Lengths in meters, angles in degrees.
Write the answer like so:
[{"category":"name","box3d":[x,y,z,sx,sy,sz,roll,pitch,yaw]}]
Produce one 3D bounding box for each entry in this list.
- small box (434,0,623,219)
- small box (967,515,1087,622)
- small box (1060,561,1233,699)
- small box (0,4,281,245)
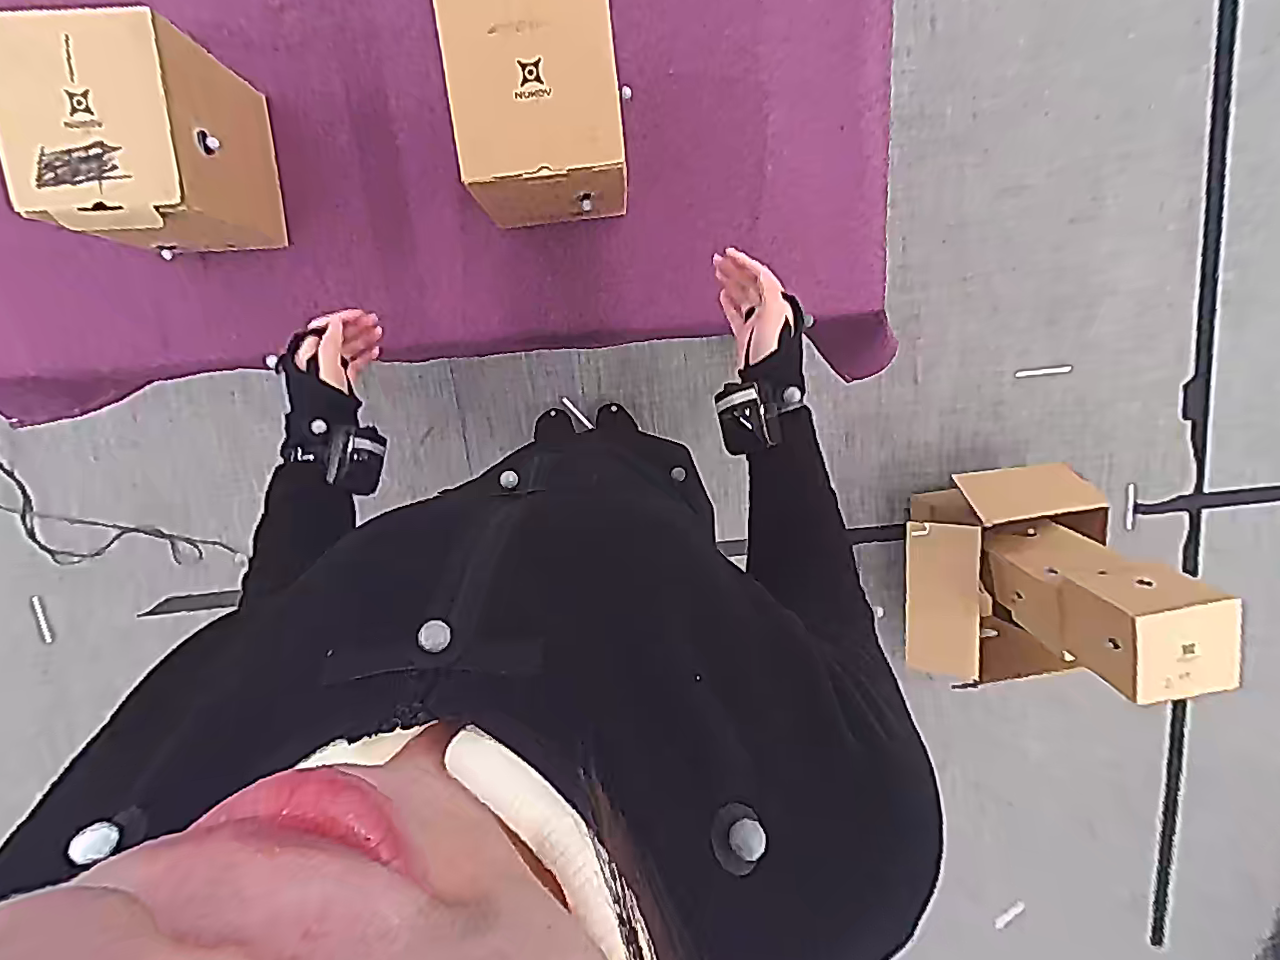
[{"category":"small box","box3d":[-0.107,-0.402,0.597,0.168,0.176,0.179,-6,101,-1]},{"category":"small box","box3d":[0.933,0.202,1.306,0.168,0.176,0.179,-26,104,7]},{"category":"small box","box3d":[0.904,0.260,0.982,0.168,0.176,0.179,-12,105,5]},{"category":"small box","box3d":[-0.529,-0.363,0.589,0.168,0.176,0.179,-3,100,-2]}]
